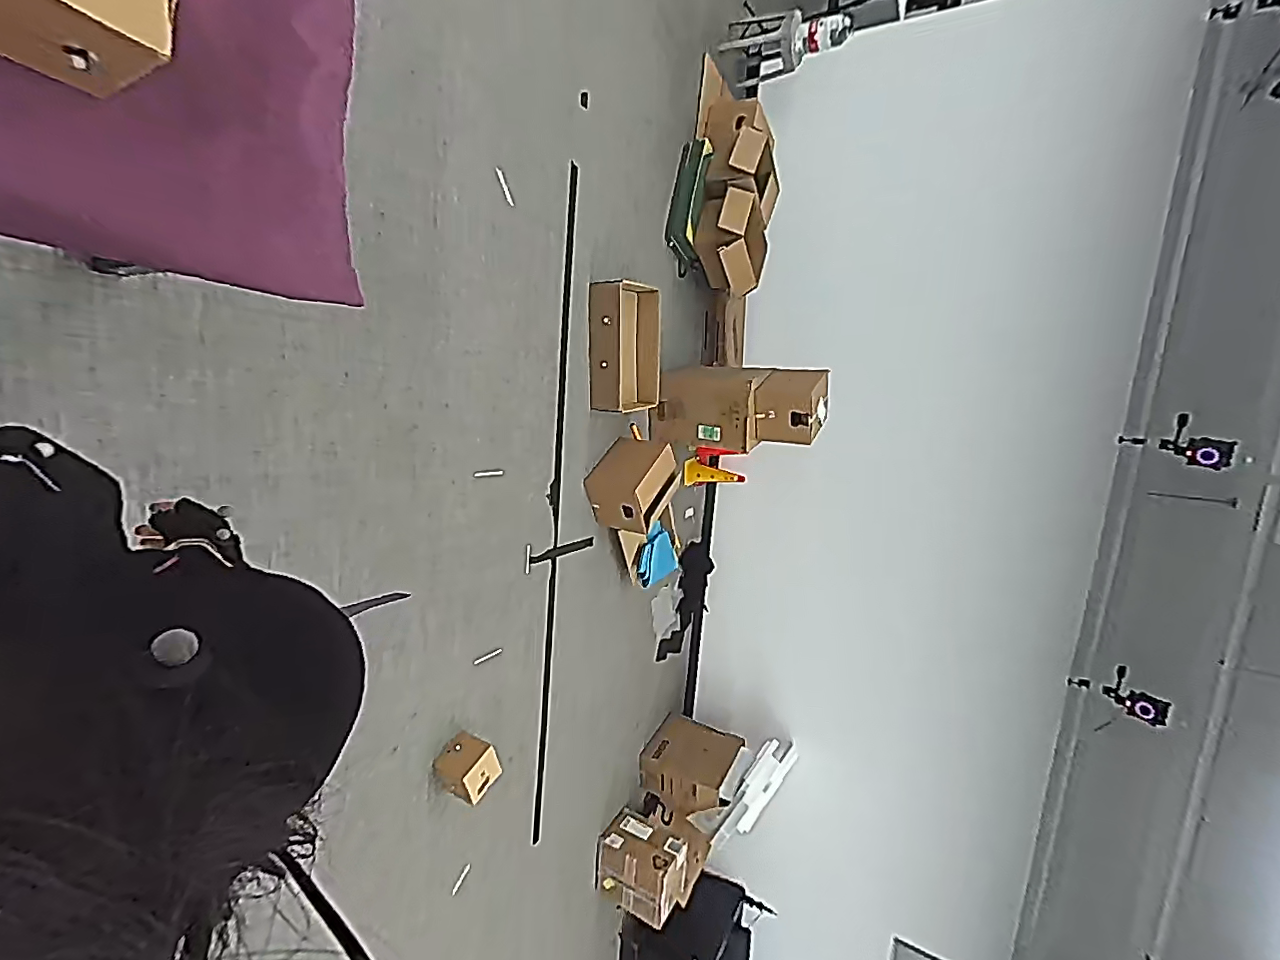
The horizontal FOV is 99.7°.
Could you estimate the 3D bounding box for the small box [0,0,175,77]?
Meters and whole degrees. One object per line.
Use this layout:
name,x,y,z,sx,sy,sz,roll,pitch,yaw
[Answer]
small box,-0.527,-0.475,0.446,0.179,0.176,0.168,-3,99,-60

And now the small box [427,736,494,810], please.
small box,-0.718,1.168,2.167,0.168,0.176,0.179,-43,134,-49
